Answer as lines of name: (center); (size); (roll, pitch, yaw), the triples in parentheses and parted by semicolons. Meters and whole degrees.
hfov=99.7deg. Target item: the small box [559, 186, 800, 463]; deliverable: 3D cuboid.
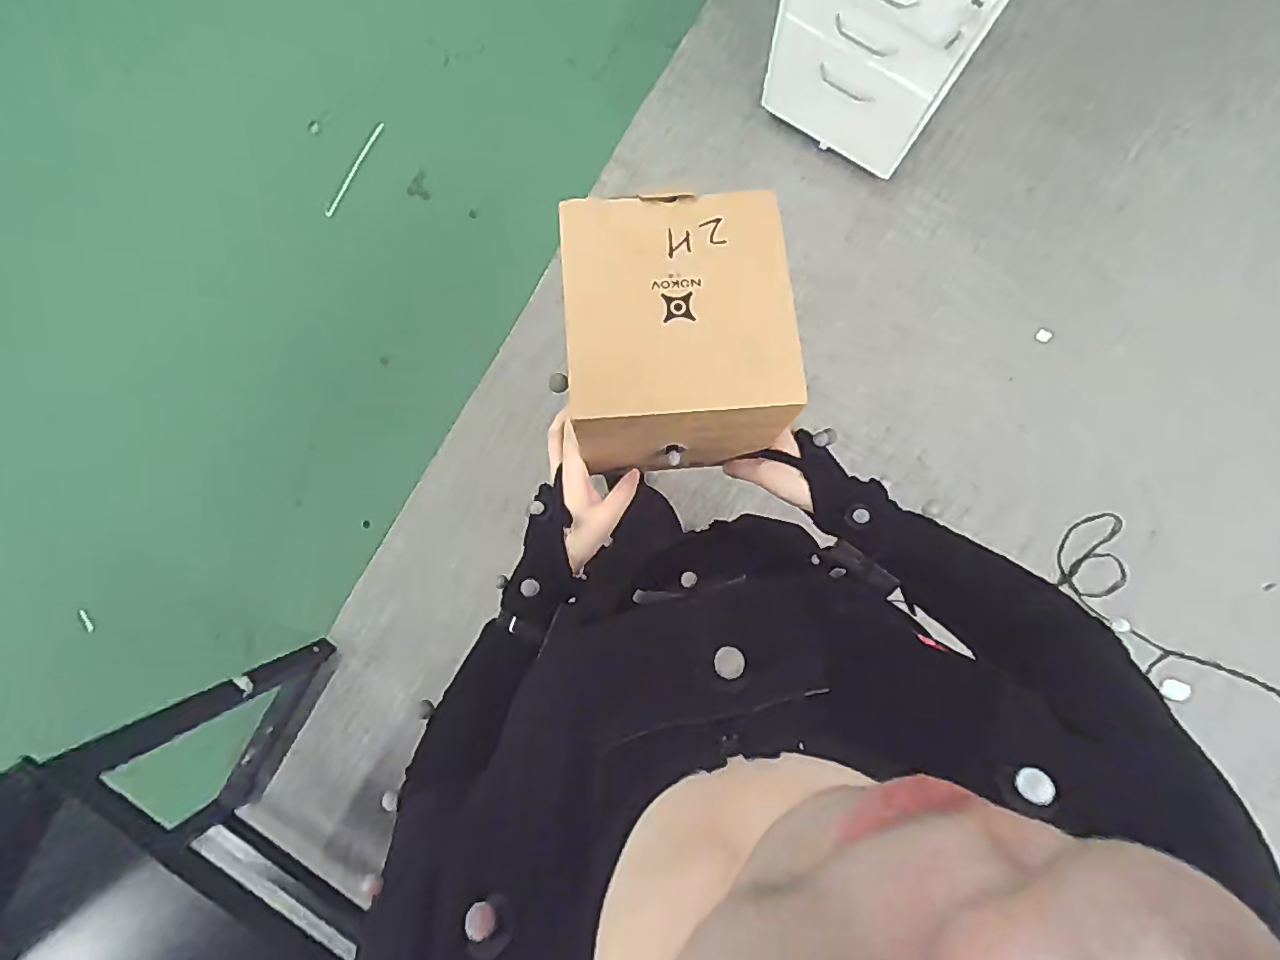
small box: (0.024, -0.115, 0.465); (0.168, 0.176, 0.179); (-3, 77, -3)
